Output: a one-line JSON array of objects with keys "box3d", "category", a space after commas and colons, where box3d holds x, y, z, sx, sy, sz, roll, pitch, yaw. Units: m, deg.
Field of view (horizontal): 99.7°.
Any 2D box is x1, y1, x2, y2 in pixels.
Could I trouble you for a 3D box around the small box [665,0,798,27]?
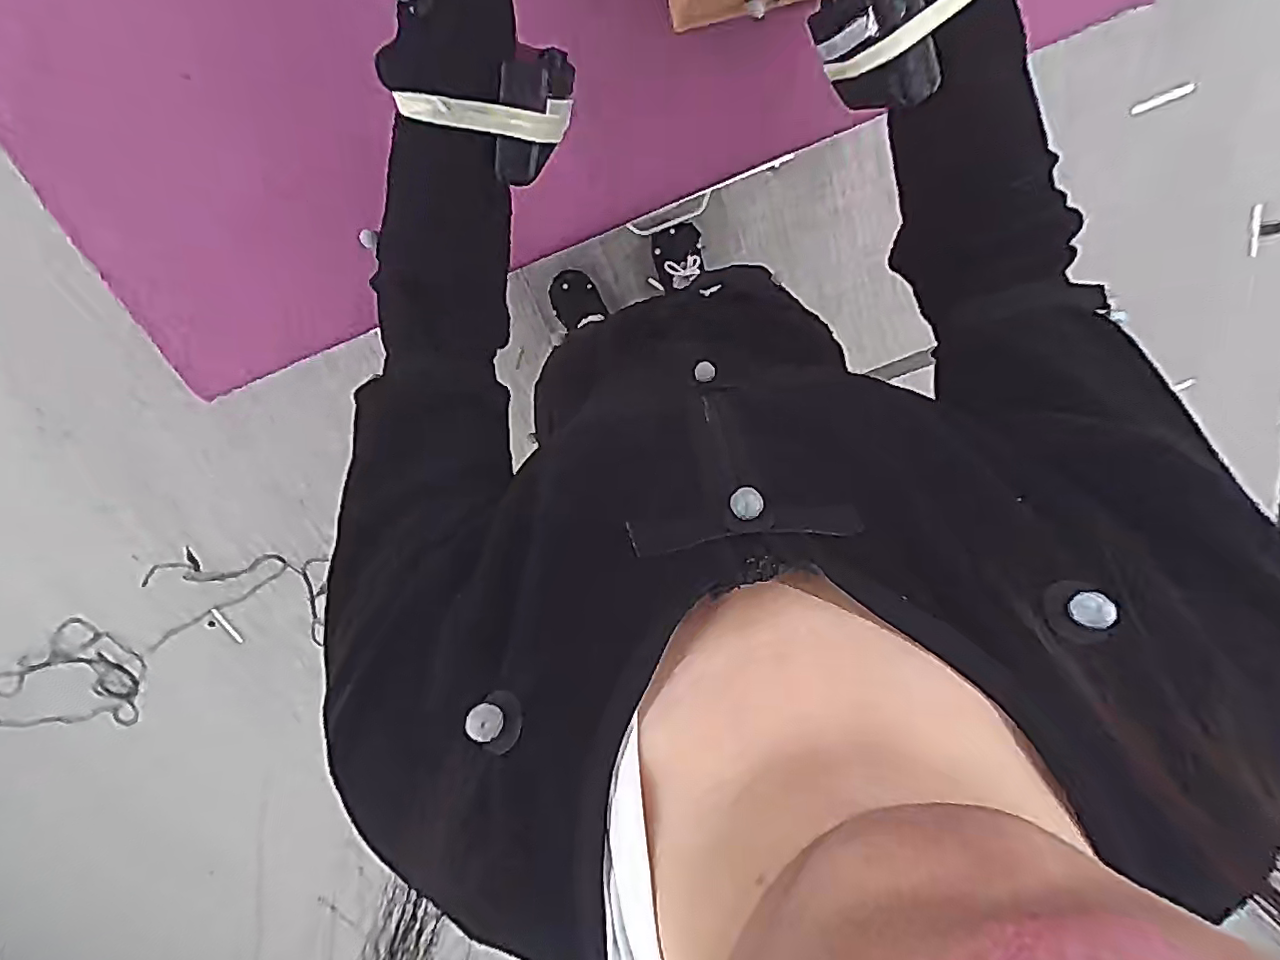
[{"box3d": [0.098, -0.541, 0.465, 0.168, 0.176, 0.179, -14, 114, 0], "category": "small box"}]
